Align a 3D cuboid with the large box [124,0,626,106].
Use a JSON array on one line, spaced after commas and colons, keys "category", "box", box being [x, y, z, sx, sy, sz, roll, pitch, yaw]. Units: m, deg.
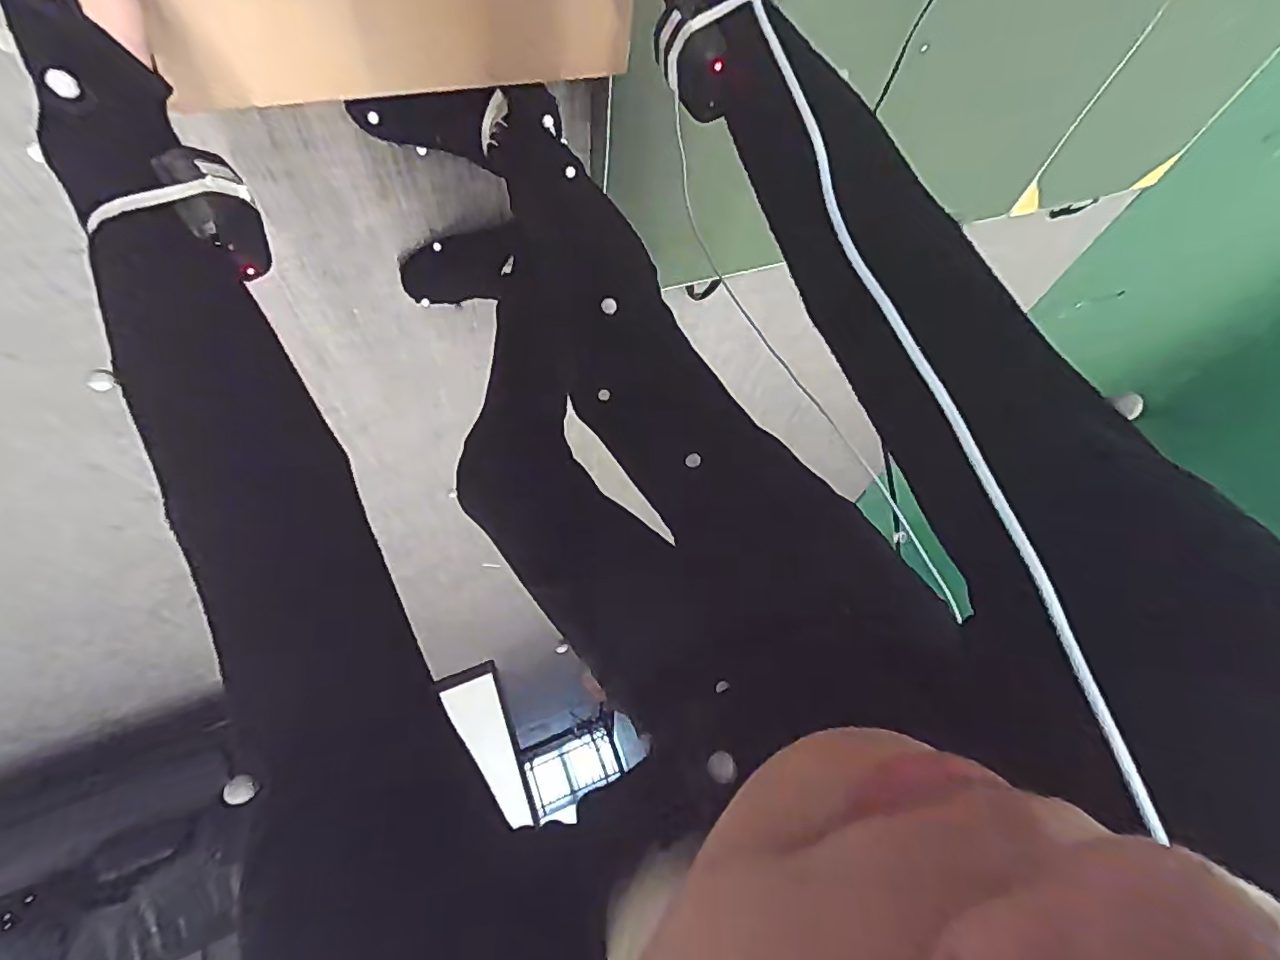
[{"category": "large box", "box": [-0.246, -0.565, 0.434, 0.408, 0.320, 0.320, -19, 154, -17]}]
